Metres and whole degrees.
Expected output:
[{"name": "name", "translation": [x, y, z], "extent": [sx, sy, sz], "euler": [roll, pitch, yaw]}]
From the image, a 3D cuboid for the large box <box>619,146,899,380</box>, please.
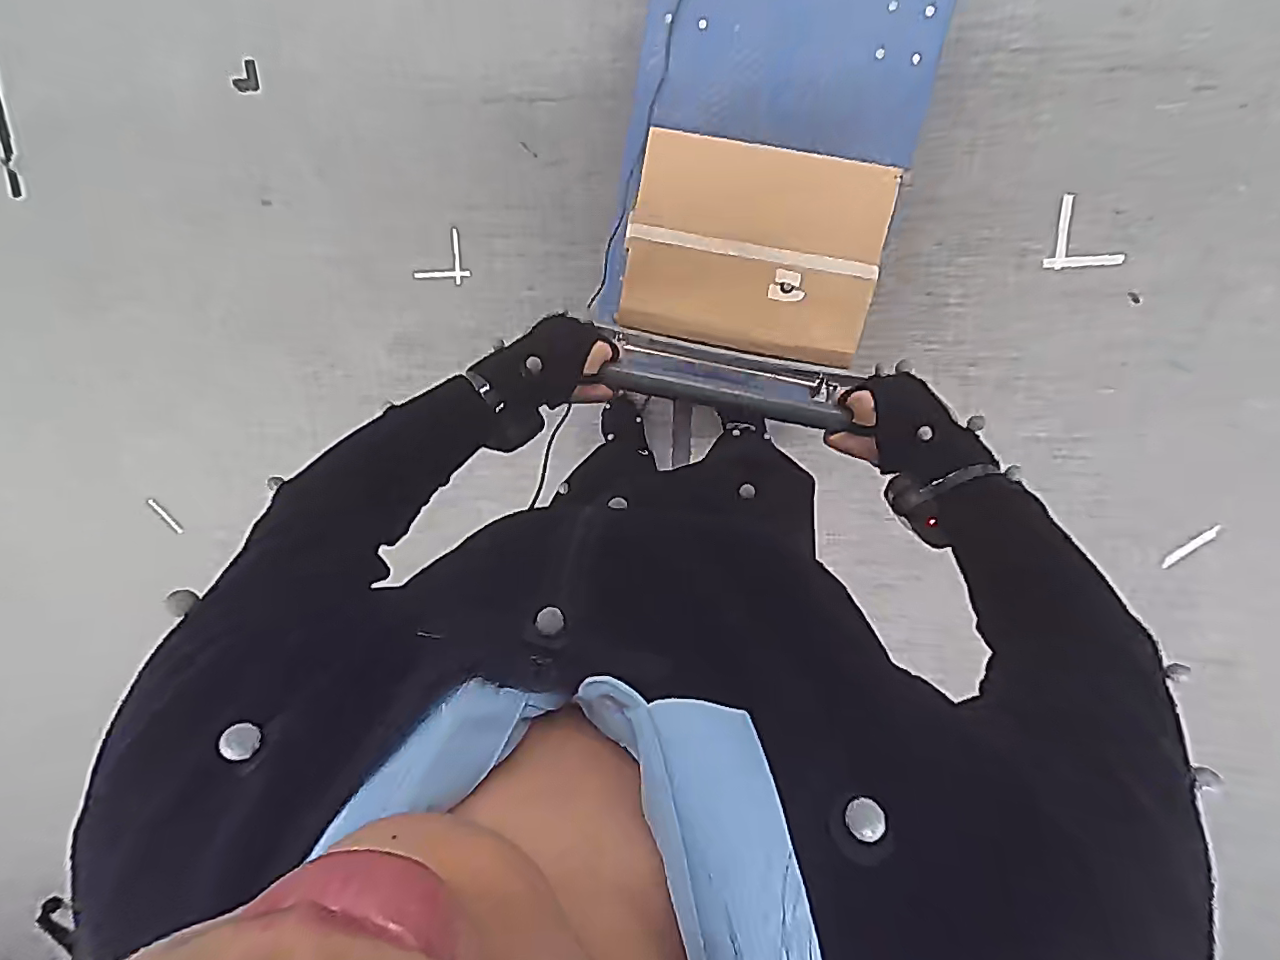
[{"name": "large box", "translation": [0.193, -0.378, 1.023], "extent": [0.408, 0.320, 0.320], "euler": [12, 103, 3]}]
